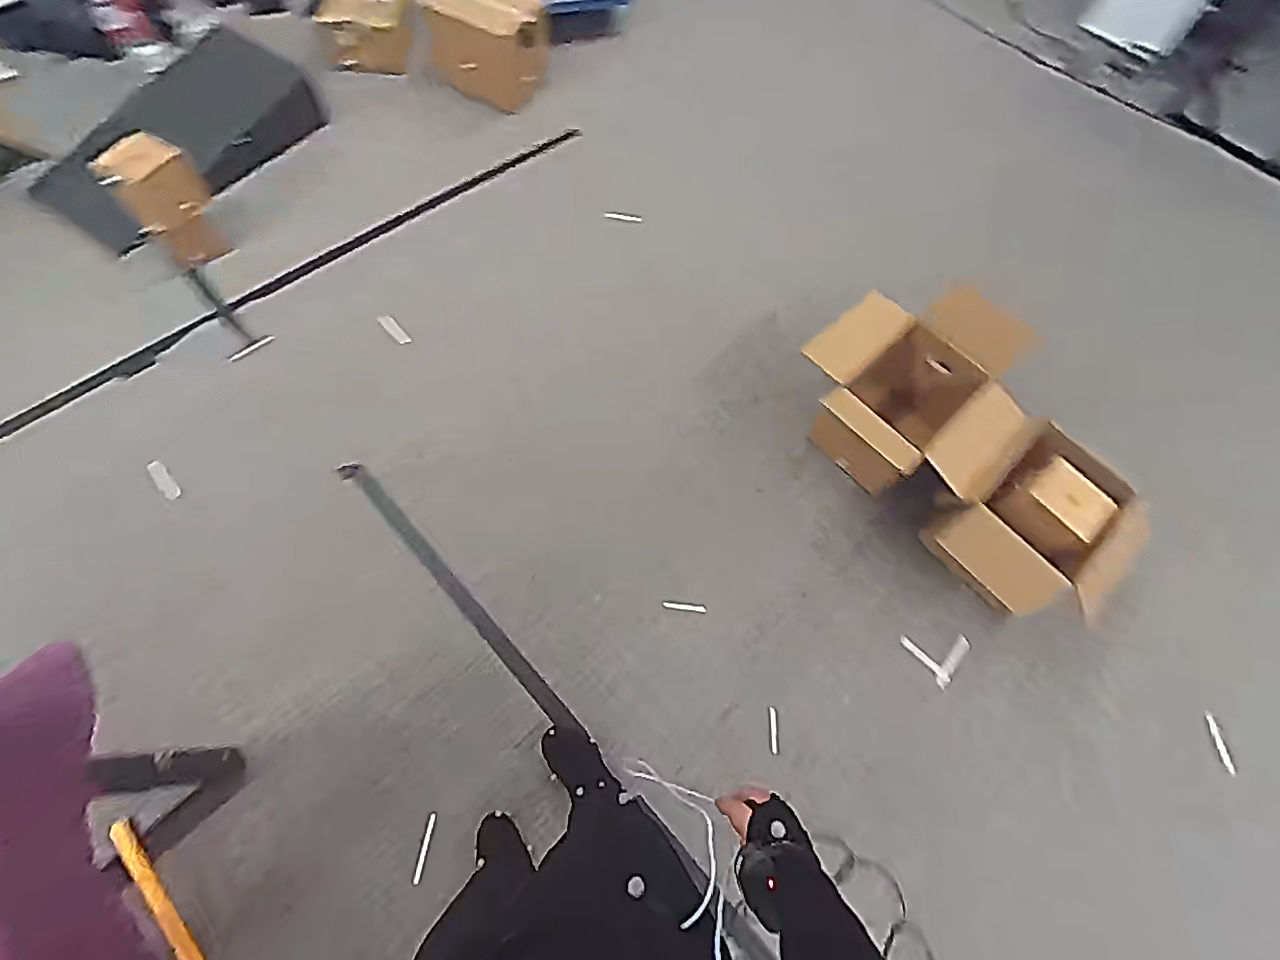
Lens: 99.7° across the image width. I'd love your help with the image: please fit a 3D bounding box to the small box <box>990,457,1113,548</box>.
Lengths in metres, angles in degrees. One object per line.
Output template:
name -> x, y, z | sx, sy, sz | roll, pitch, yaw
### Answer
small box -> 1.142, 0.071, 1.513 | 0.168, 0.176, 0.179 | -39, 75, -18
